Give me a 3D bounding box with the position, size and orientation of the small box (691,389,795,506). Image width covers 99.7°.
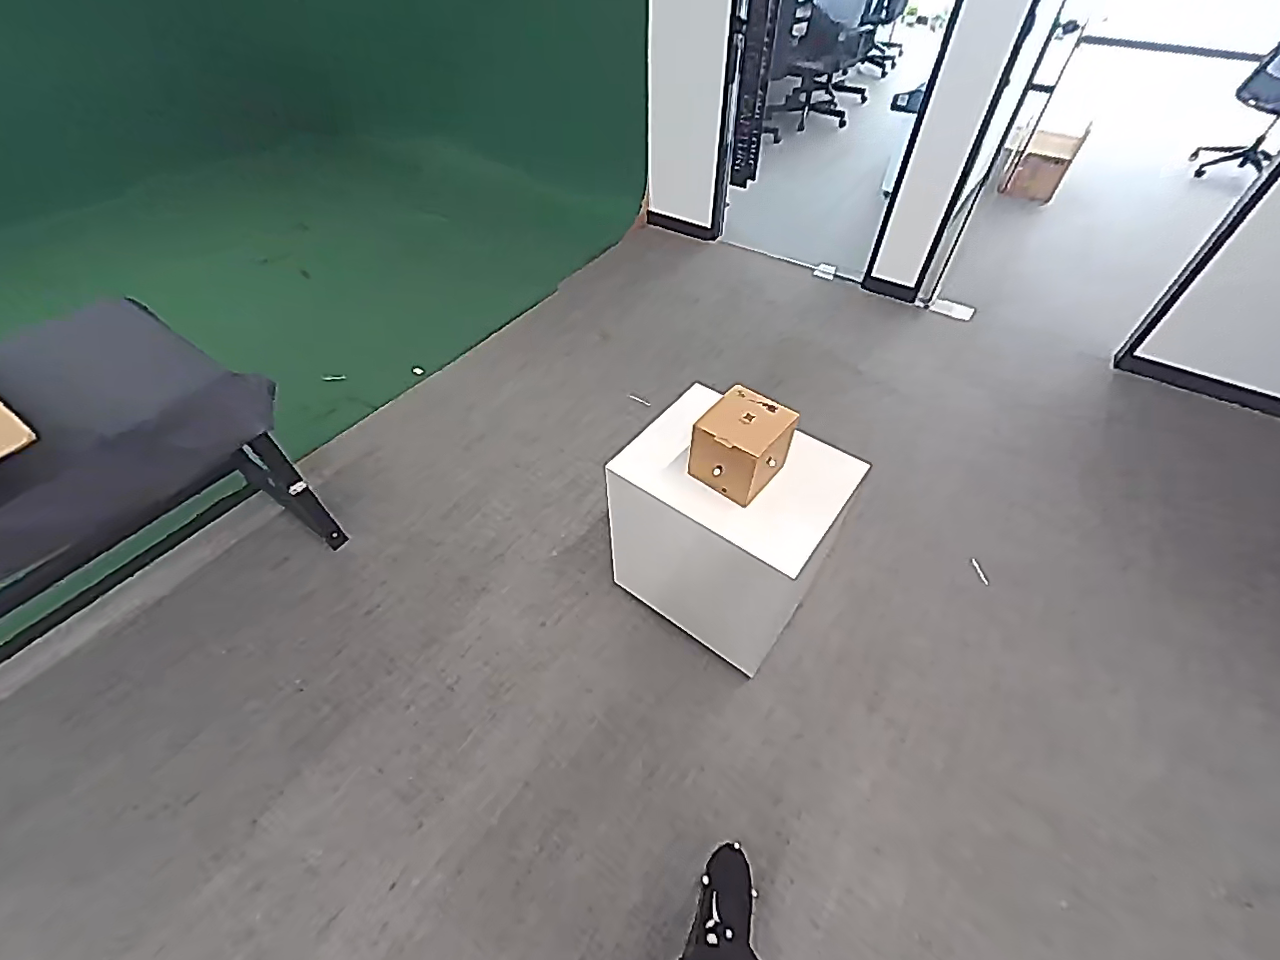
[{"bbox_3d":[0.230,-0.072,1.239,0.168,0.176,0.179,30,55,24],"label":"small box"}]
